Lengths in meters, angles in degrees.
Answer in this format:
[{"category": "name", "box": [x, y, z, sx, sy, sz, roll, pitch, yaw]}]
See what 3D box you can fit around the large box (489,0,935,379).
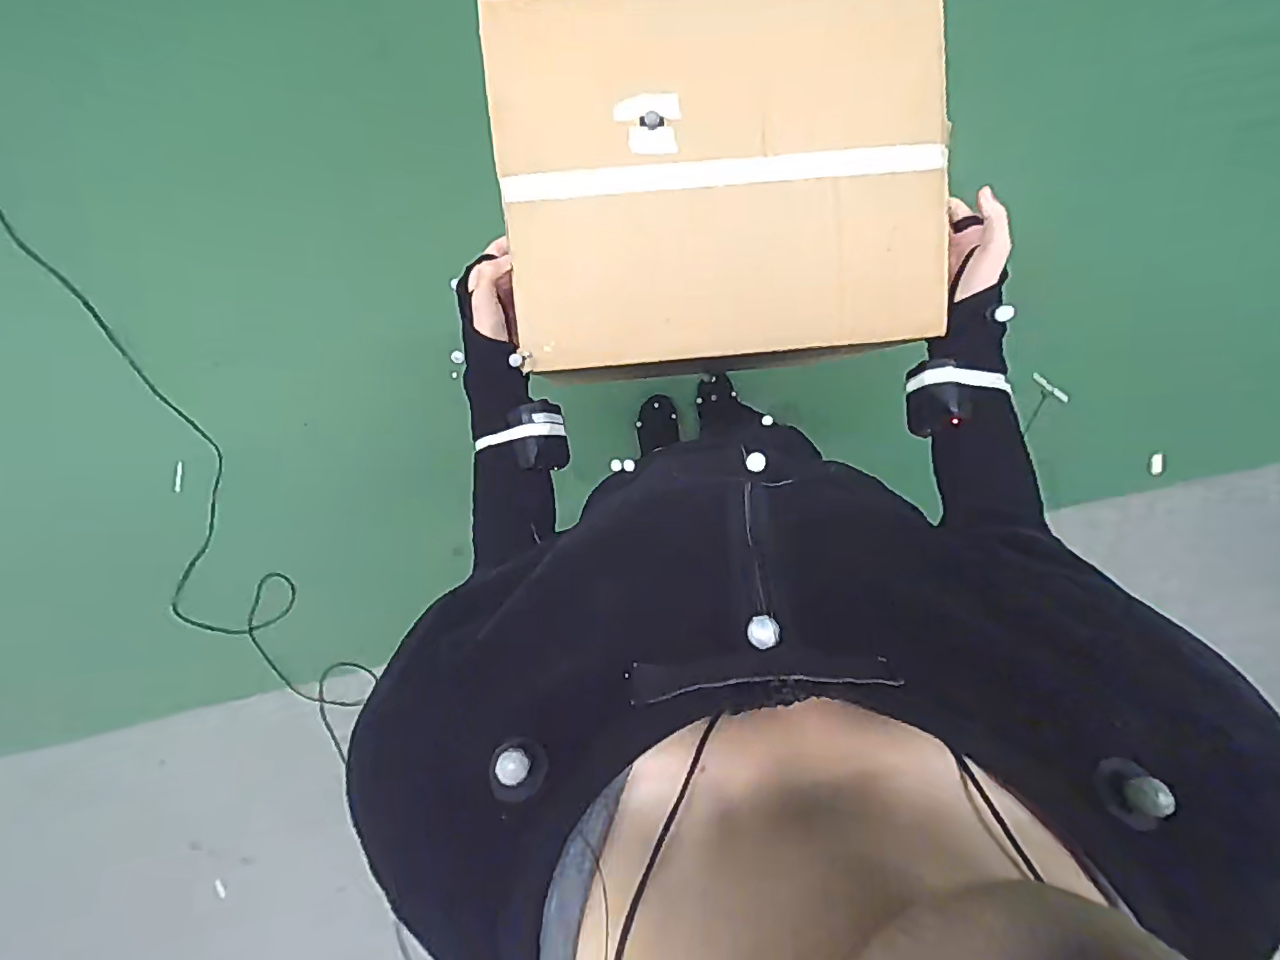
[{"category": "large box", "box": [0.072, -0.295, 0.646, 0.408, 0.320, 0.320, -5, 98, -2]}]
